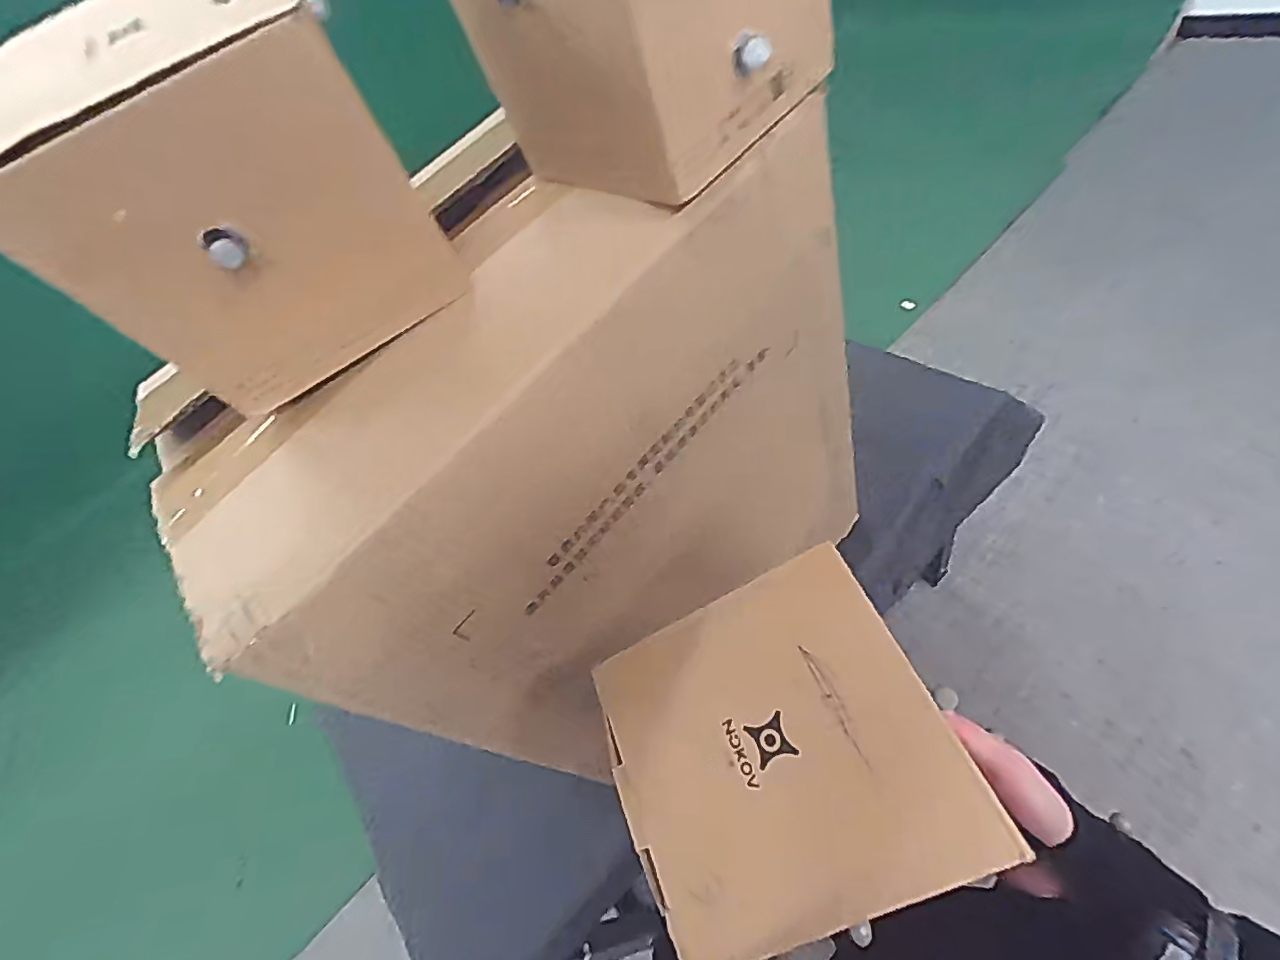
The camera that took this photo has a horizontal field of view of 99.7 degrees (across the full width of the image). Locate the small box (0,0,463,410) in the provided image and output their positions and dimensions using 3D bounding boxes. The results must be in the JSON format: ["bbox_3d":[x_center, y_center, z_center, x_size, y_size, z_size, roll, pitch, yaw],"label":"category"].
[{"bbox_3d":[-0.249,-0.177,0.341,0.179,0.176,0.168,-35,62,-5],"label":"small box"}]

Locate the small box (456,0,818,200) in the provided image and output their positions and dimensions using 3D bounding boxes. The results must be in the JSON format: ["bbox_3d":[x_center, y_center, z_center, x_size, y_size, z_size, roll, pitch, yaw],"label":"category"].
[{"bbox_3d":[-0.006,-0.313,0.353,0.168,0.176,0.179,-46,53,-13],"label":"small box"}]
